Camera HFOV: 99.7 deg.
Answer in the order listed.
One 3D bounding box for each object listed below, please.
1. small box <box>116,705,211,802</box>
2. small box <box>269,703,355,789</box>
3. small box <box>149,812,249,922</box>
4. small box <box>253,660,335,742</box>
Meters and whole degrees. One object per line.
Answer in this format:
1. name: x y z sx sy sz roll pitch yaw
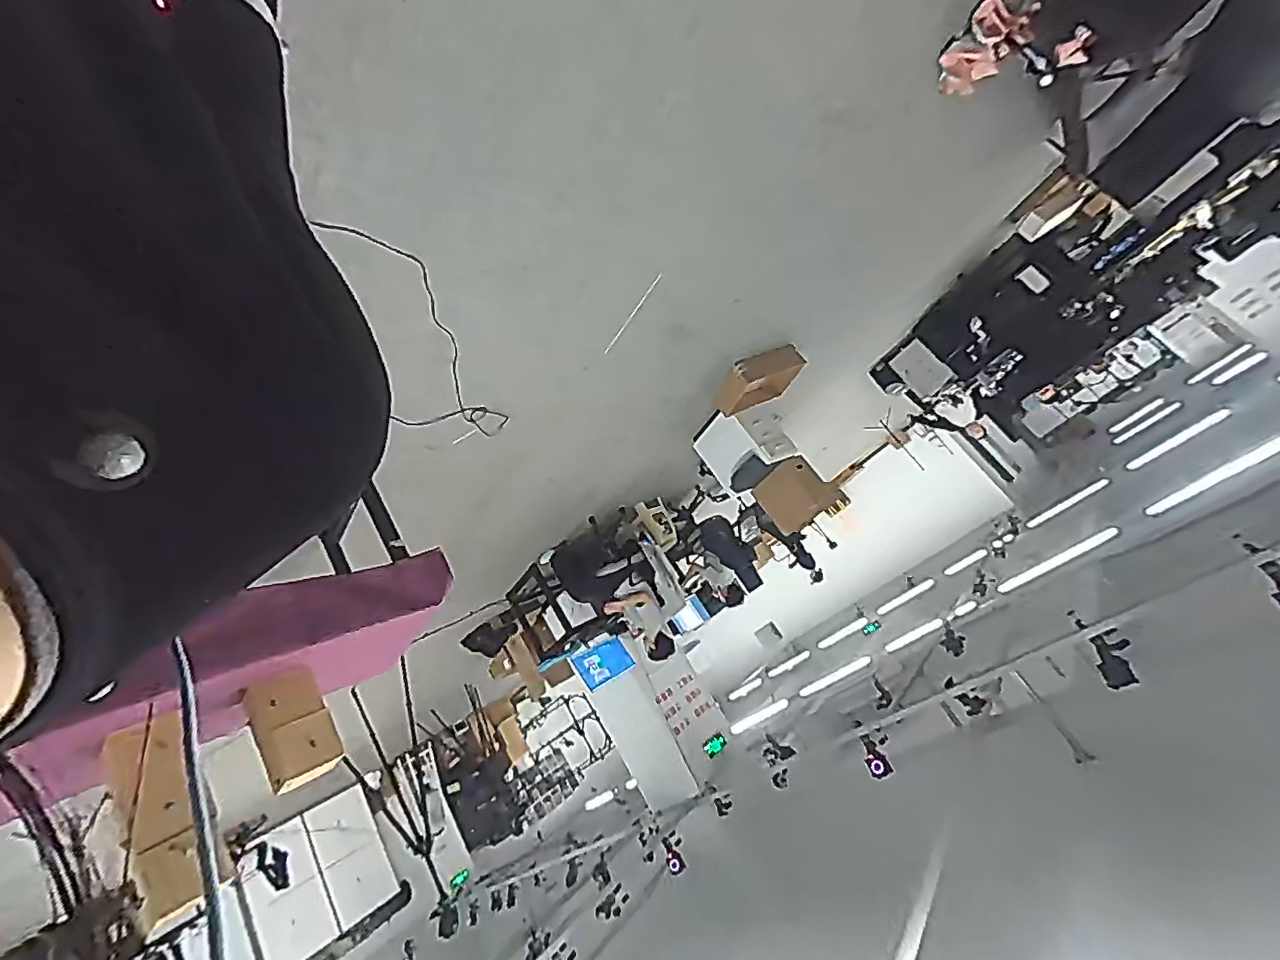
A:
1. small box: -1.372 0.776 1.553 0.168 0.176 0.179 -11 151 -52
2. small box: -1.074 0.863 1.767 0.179 0.176 0.168 -11 152 -51
3. small box: -1.191 1.033 1.454 0.168 0.176 0.179 -13 152 -52
4. small box: -1.167 0.736 1.814 0.179 0.176 0.168 -12 152 -51
